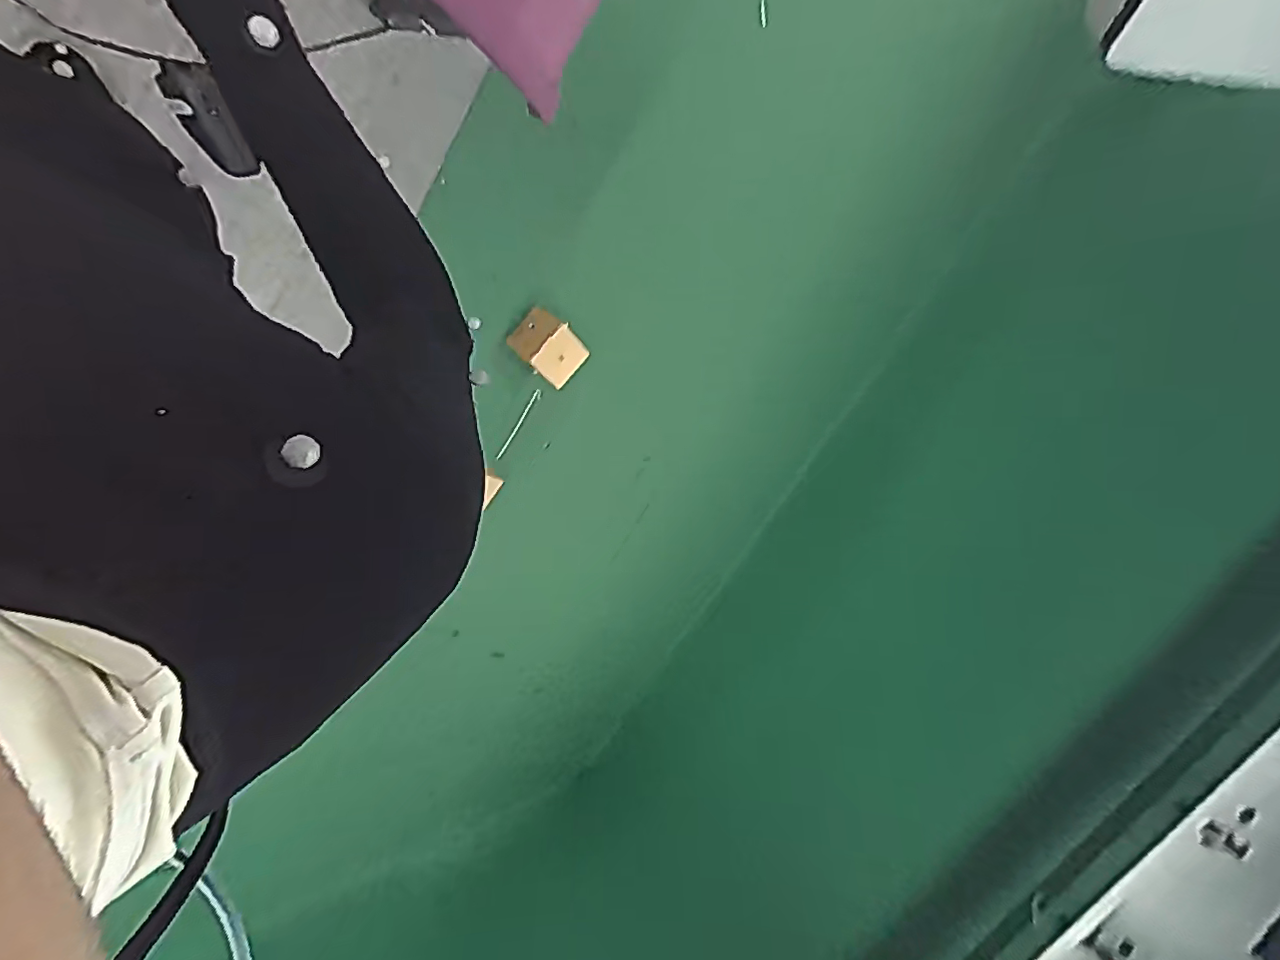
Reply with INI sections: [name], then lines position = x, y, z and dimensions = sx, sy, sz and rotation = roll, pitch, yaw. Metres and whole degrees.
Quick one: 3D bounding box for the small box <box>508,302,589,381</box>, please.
[small box]
position = -0.316, -0.480, 1.858
dimensions = 0.168, 0.176, 0.179
rotation = -49, 144, 0
